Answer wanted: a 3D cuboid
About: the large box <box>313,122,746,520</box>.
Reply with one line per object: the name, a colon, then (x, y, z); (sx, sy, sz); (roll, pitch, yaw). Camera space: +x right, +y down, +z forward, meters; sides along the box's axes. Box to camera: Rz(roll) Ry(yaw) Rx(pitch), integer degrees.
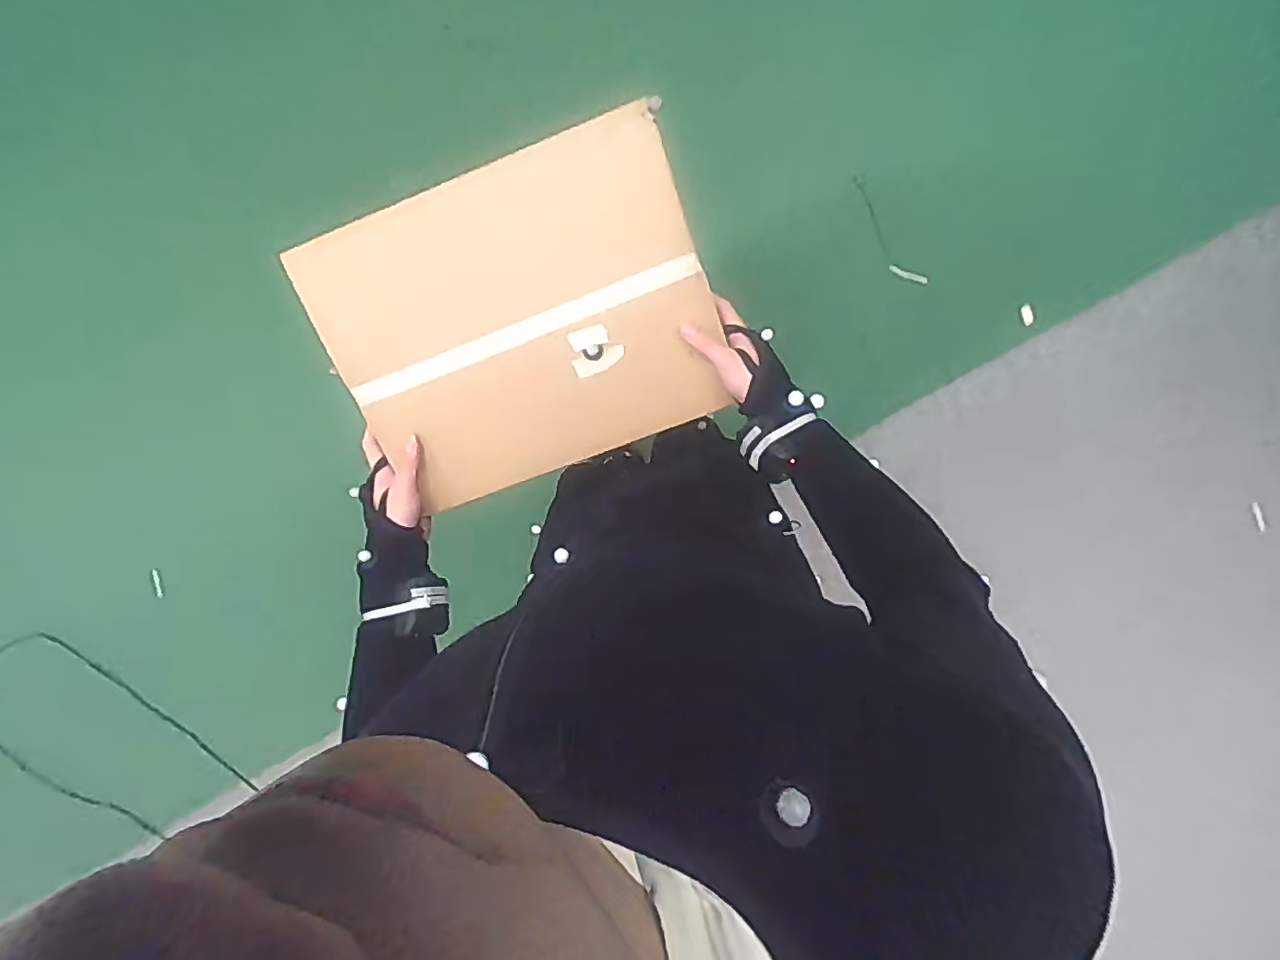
large box: (-0.117, -0.194, 0.738); (0.408, 0.320, 0.320); (-20, 107, 5)
